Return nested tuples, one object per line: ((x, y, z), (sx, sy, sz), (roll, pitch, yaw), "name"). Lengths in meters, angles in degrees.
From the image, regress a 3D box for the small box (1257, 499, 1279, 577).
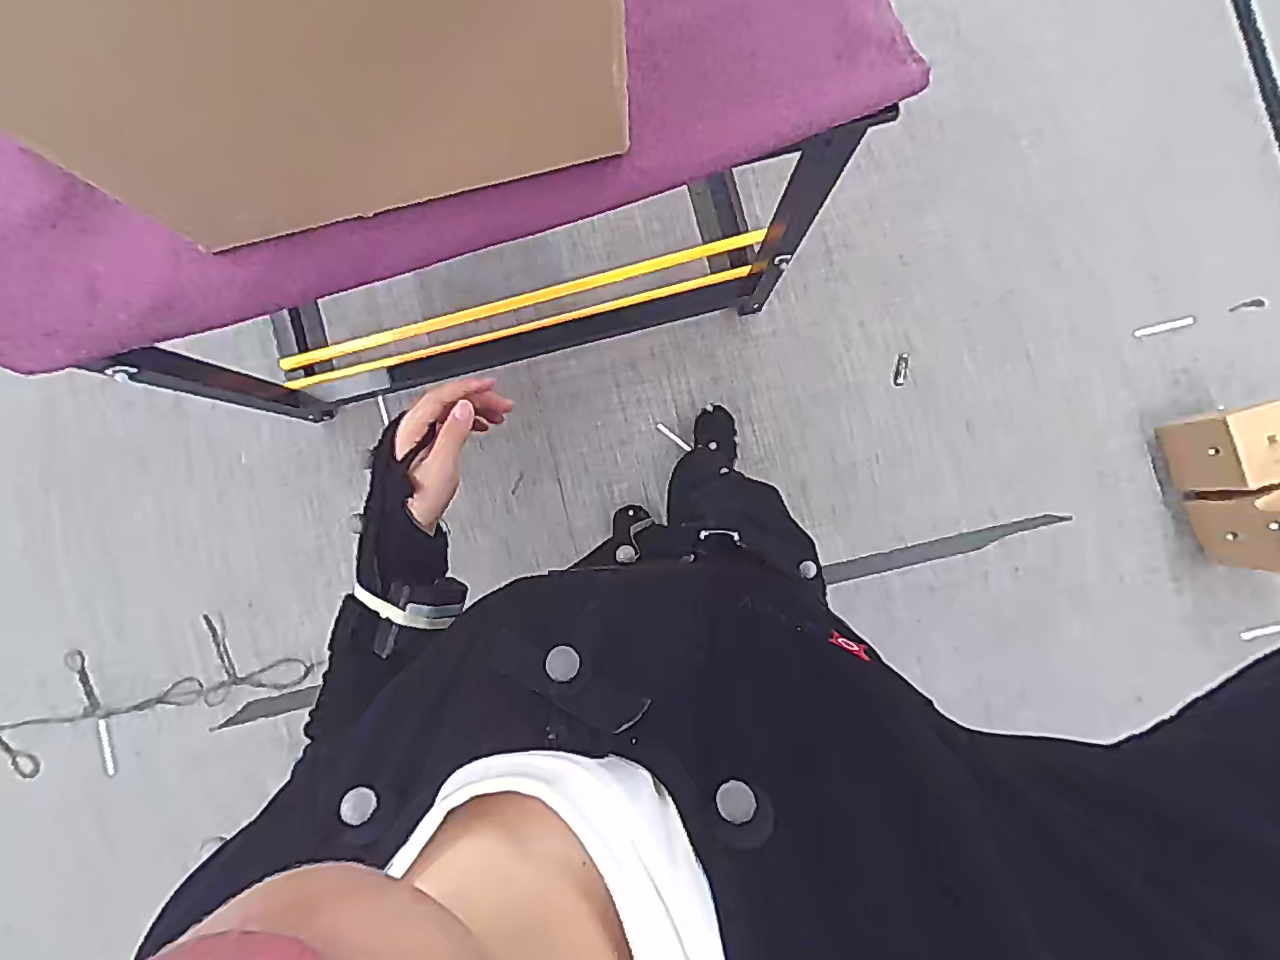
((1.463, 0.114, 1.125), (0.179, 0.176, 0.168), (-20, 88, -1), "small box")
